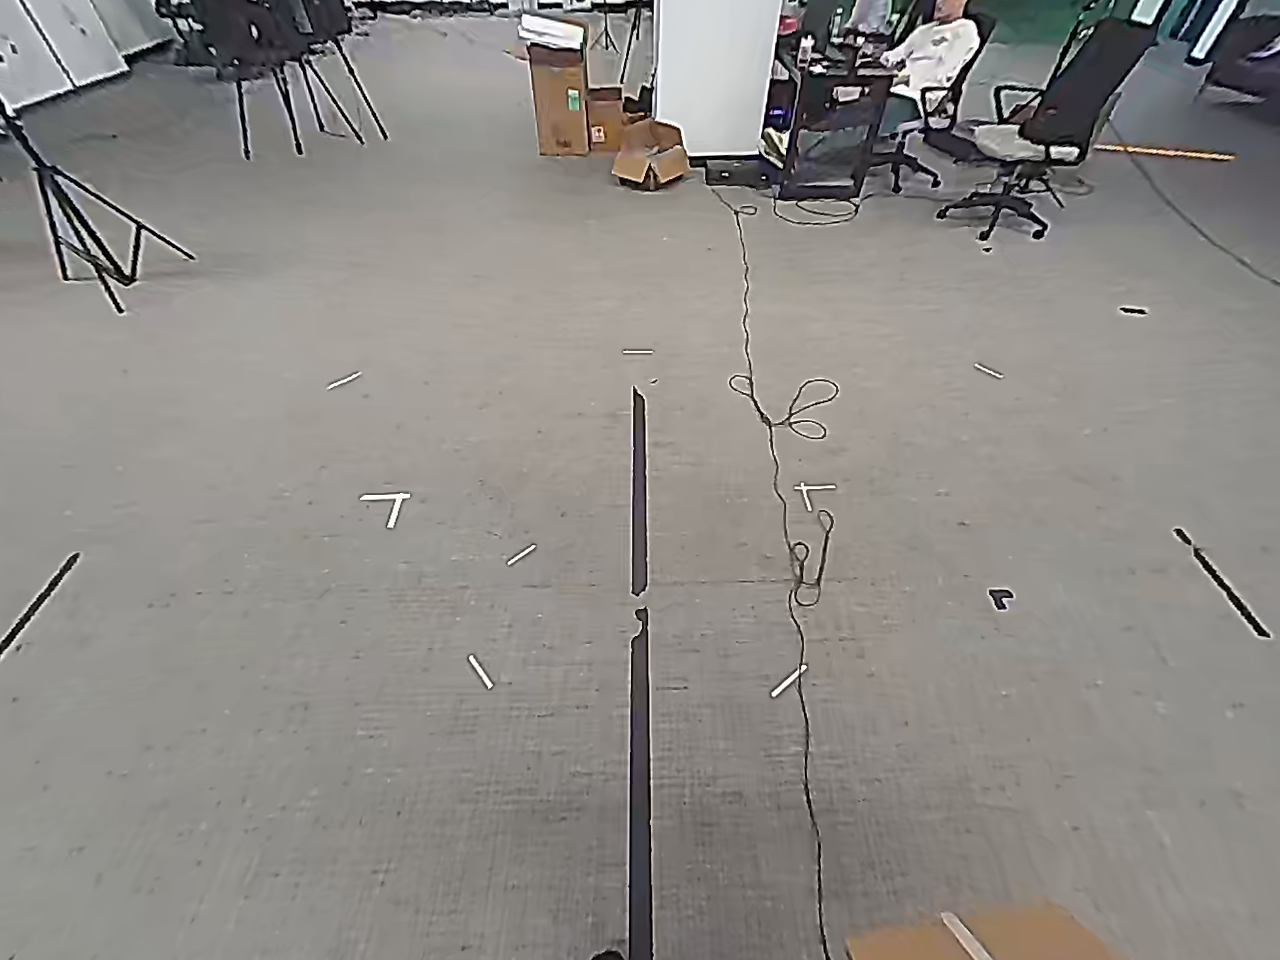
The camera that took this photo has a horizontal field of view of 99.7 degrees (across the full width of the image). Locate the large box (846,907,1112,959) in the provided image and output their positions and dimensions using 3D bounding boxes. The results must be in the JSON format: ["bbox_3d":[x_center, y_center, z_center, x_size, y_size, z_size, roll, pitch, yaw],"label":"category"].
[{"bbox_3d":[0.469,0.762,0.572,0.320,0.408,0.320,-11,81,0],"label":"large box"}]
